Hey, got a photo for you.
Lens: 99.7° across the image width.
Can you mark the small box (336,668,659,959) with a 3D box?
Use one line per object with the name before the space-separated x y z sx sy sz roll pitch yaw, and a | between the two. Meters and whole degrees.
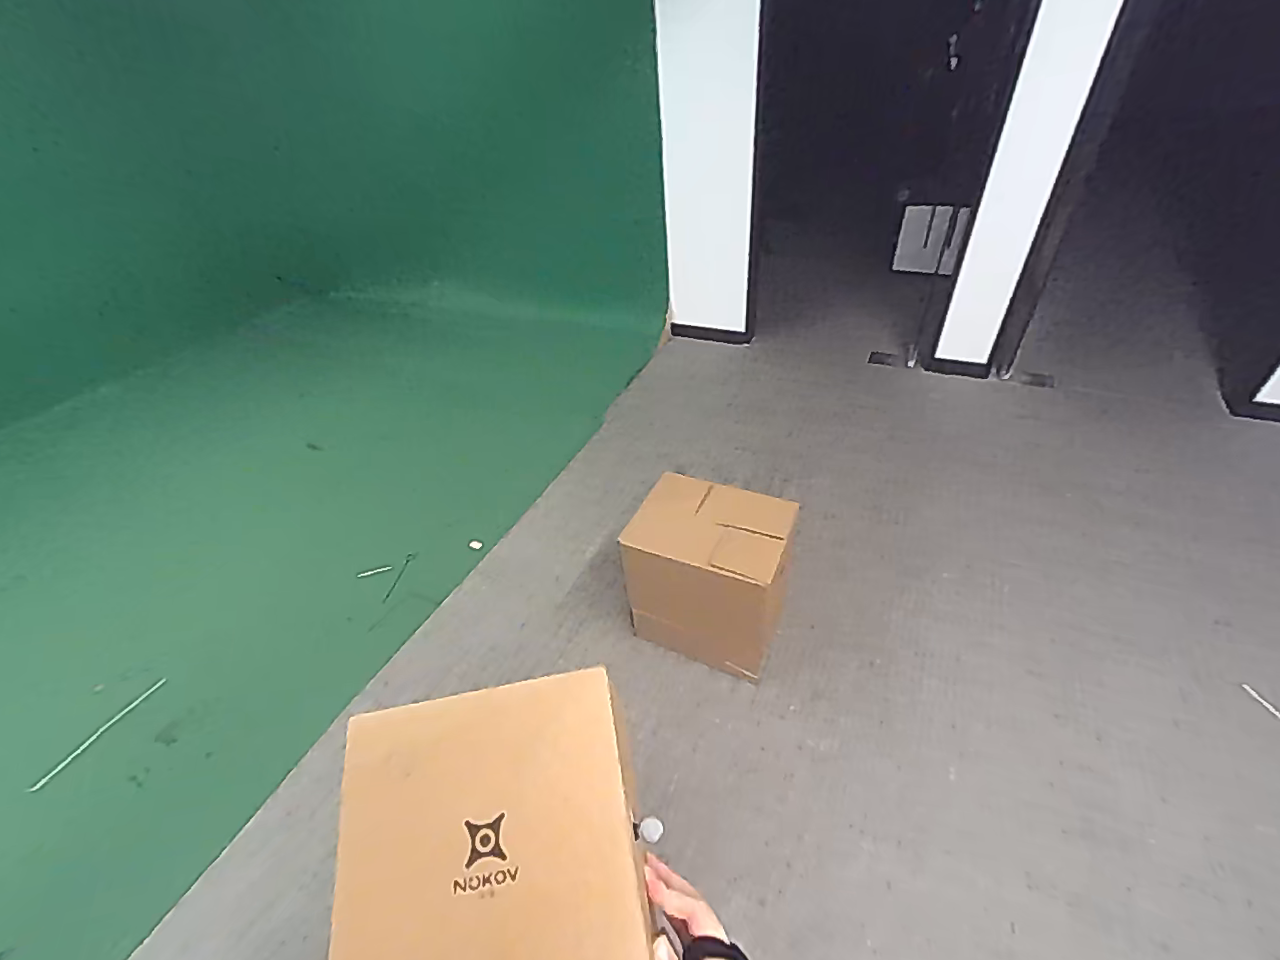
small box | -0.082 0.249 0.375 0.168 0.176 0.179 -10 61 -3
